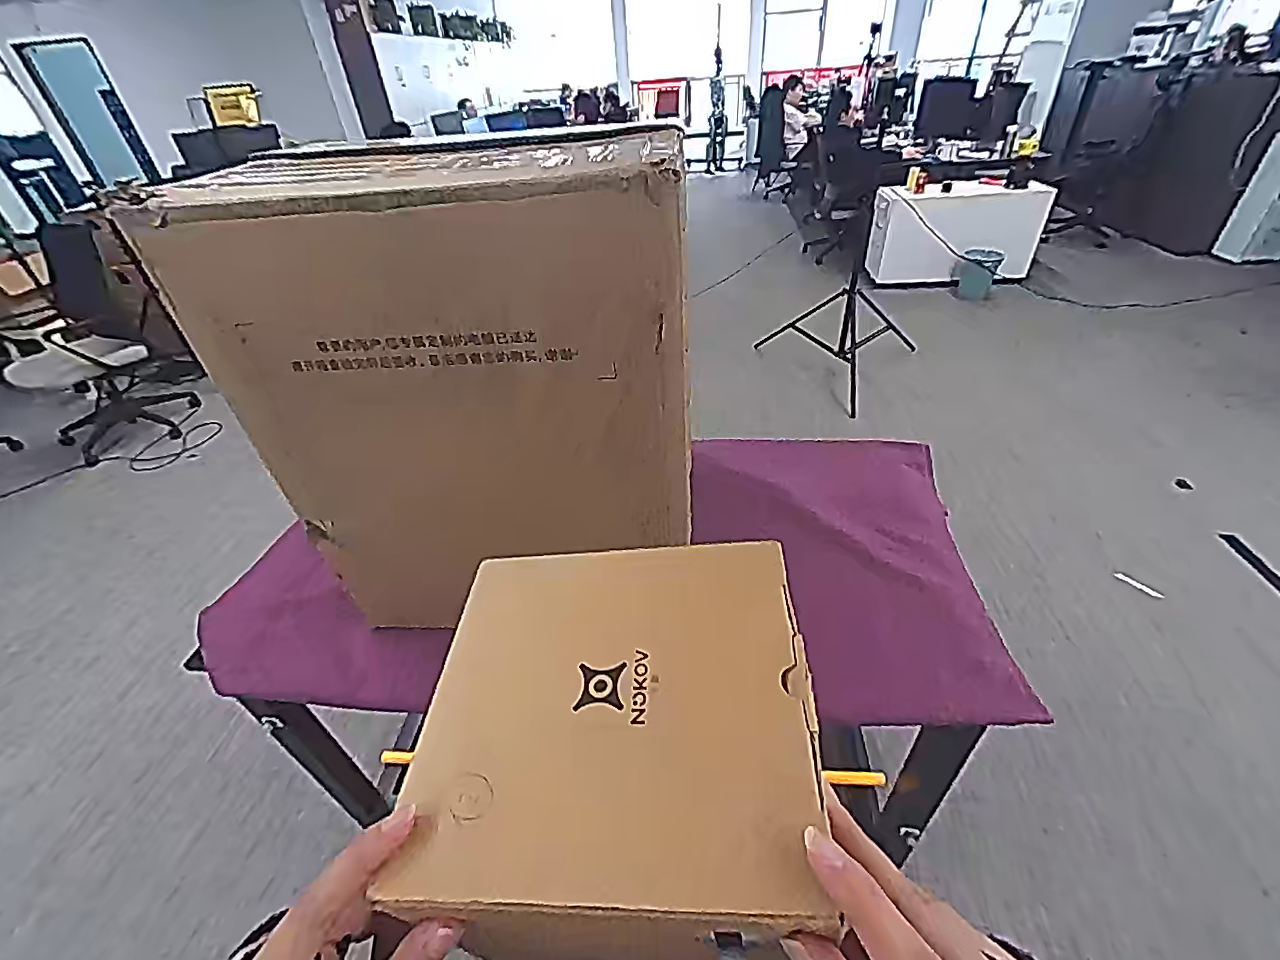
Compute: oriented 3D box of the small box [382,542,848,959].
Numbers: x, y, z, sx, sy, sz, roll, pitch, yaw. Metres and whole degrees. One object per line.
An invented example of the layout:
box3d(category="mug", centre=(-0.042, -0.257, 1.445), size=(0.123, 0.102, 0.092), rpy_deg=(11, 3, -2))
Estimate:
box3d(category="small box", centre=(0.005, 0.156, 0.301), size=(0.179, 0.176, 0.168), rpy_deg=(-6, 41, 9))
